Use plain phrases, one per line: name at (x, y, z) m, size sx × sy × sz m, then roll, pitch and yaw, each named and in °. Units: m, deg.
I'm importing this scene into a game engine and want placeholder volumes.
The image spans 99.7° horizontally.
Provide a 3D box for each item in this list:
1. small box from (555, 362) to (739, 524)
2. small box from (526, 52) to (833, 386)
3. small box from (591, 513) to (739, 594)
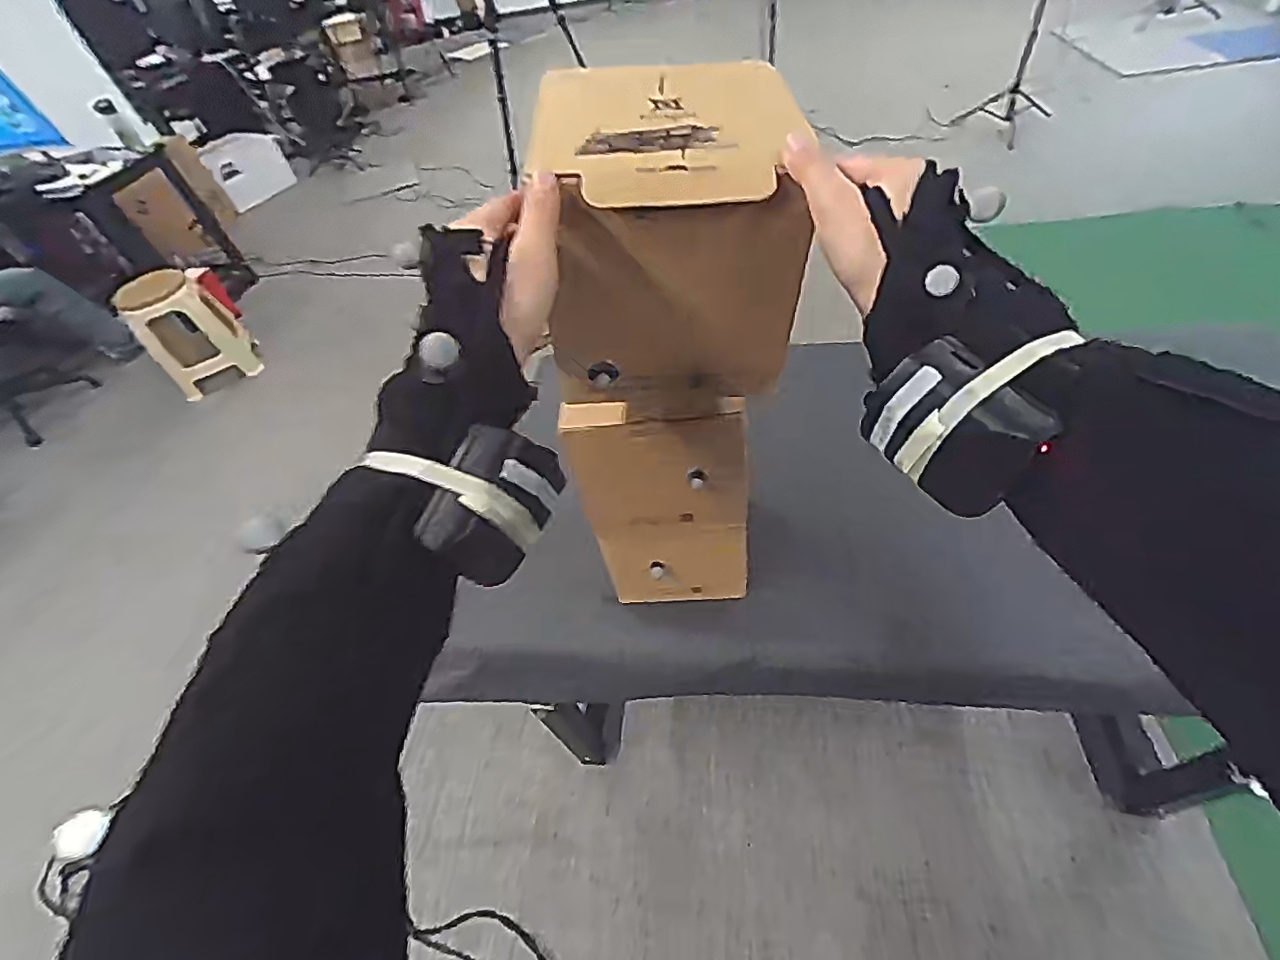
small box at (0.017, -0.064, 0.578) m, size 0.168 × 0.176 × 0.179 m, roll -4°, pitch 48°, yaw 5°
small box at (0.021, -0.181, 0.395) m, size 0.168 × 0.176 × 0.179 m, roll -2°, pitch 52°, yaw -1°
small box at (0.039, 0.038, 0.702) m, size 0.168 × 0.176 × 0.179 m, roll -4°, pitch 49°, yaw 7°
